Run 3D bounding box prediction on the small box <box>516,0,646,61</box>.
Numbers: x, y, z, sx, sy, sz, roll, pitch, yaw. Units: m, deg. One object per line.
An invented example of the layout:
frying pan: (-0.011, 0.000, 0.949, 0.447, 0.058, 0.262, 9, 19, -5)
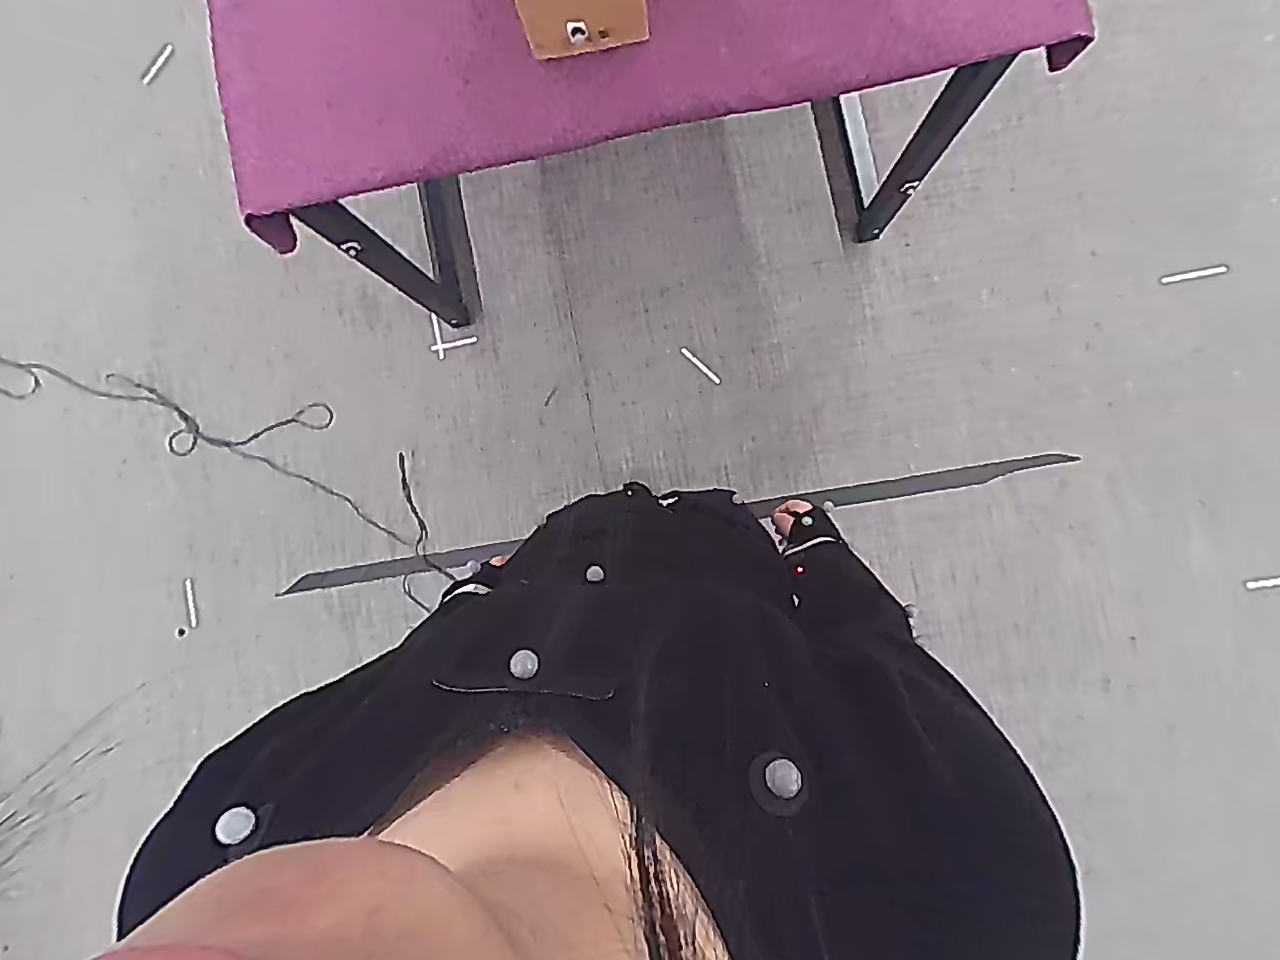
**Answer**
small box: (-0.087, -0.696, 0.693, 0.168, 0.176, 0.179, -8, 89, 5)
